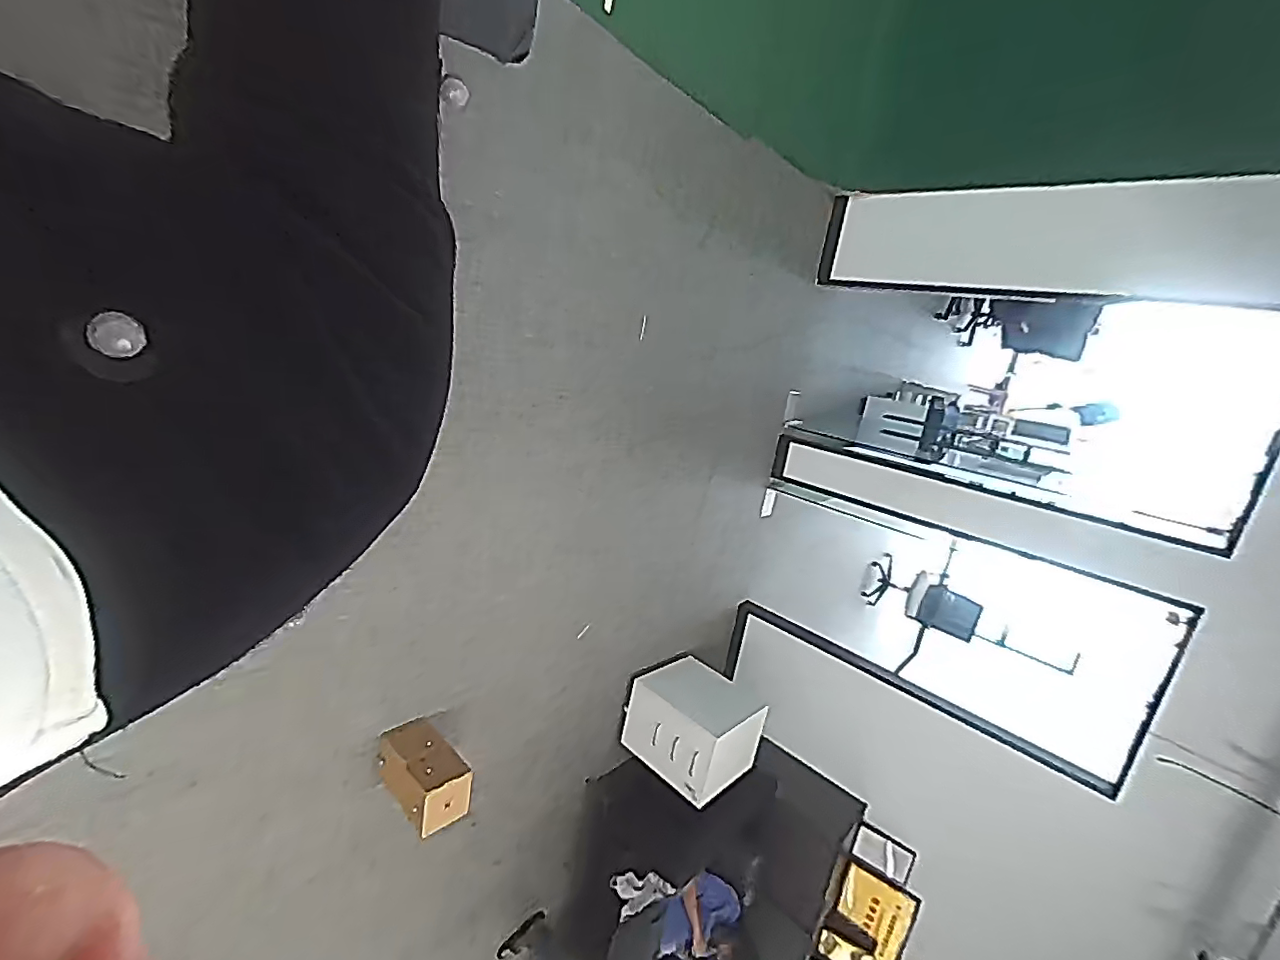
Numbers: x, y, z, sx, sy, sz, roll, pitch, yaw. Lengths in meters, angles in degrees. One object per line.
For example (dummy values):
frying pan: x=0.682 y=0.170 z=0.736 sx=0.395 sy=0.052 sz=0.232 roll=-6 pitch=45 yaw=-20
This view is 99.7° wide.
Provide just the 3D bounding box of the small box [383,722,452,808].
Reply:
small box: x=-0.791 y=0.998 z=1.911 sx=0.168 sy=0.176 sz=0.179 roll=-3 pitch=109 yaw=-49

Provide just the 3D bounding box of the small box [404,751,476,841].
small box: x=-0.672 y=1.044 z=1.811 sx=0.168 sy=0.176 sz=0.179 roll=-6 pitch=112 yaw=-48
